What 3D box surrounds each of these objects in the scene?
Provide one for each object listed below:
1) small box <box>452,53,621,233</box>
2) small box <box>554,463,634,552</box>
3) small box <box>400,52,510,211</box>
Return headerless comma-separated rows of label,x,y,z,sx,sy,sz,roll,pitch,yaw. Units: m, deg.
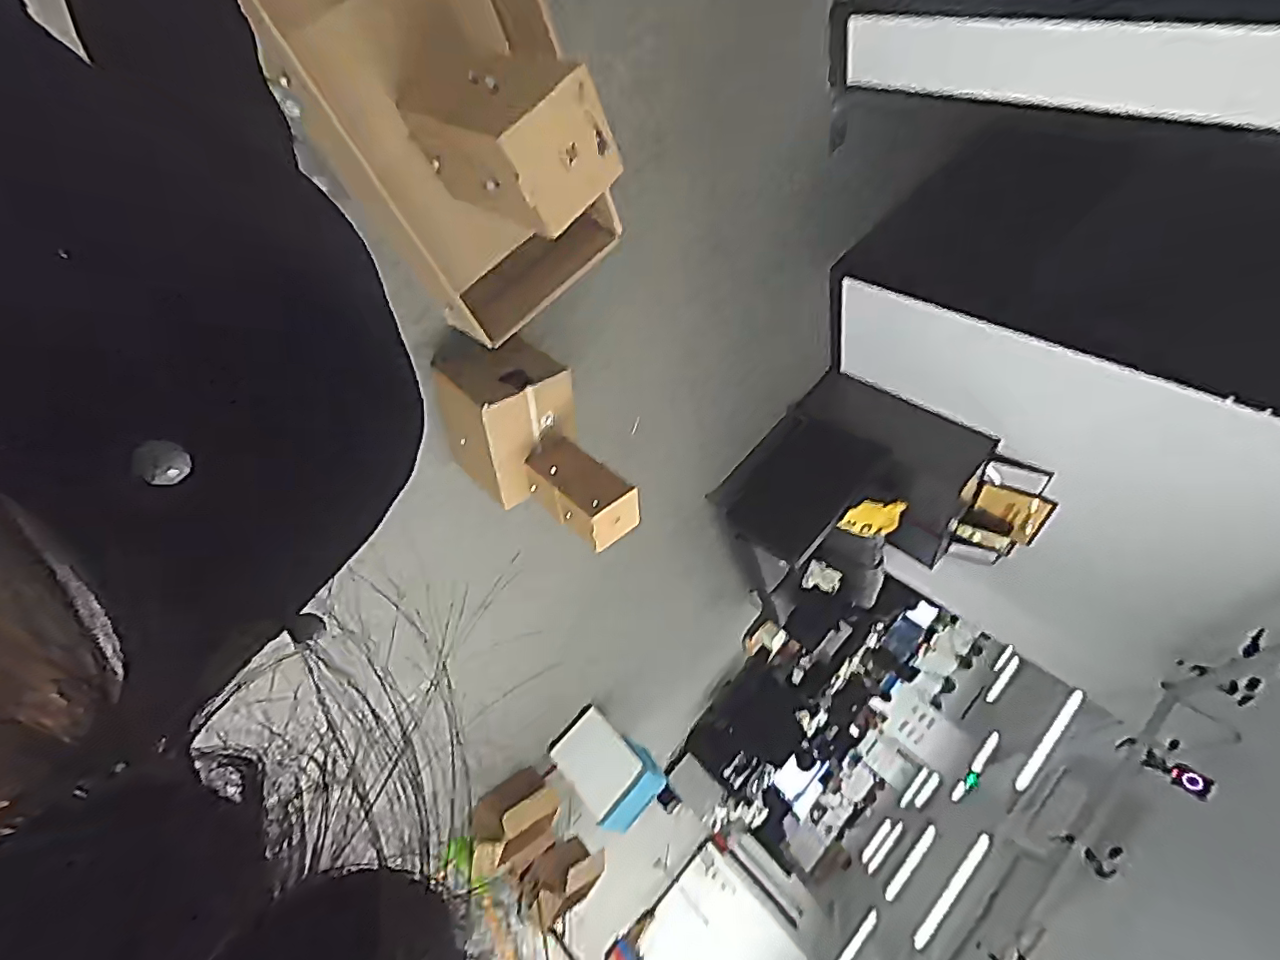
small box,-0.167,-0.530,0.851,0.179,0.176,0.168,-46,147,-9
small box,-0.137,0.077,1.649,0.179,0.176,0.168,-34,142,-28
small box,-0.276,-0.611,0.943,0.179,0.176,0.168,-46,146,-12
